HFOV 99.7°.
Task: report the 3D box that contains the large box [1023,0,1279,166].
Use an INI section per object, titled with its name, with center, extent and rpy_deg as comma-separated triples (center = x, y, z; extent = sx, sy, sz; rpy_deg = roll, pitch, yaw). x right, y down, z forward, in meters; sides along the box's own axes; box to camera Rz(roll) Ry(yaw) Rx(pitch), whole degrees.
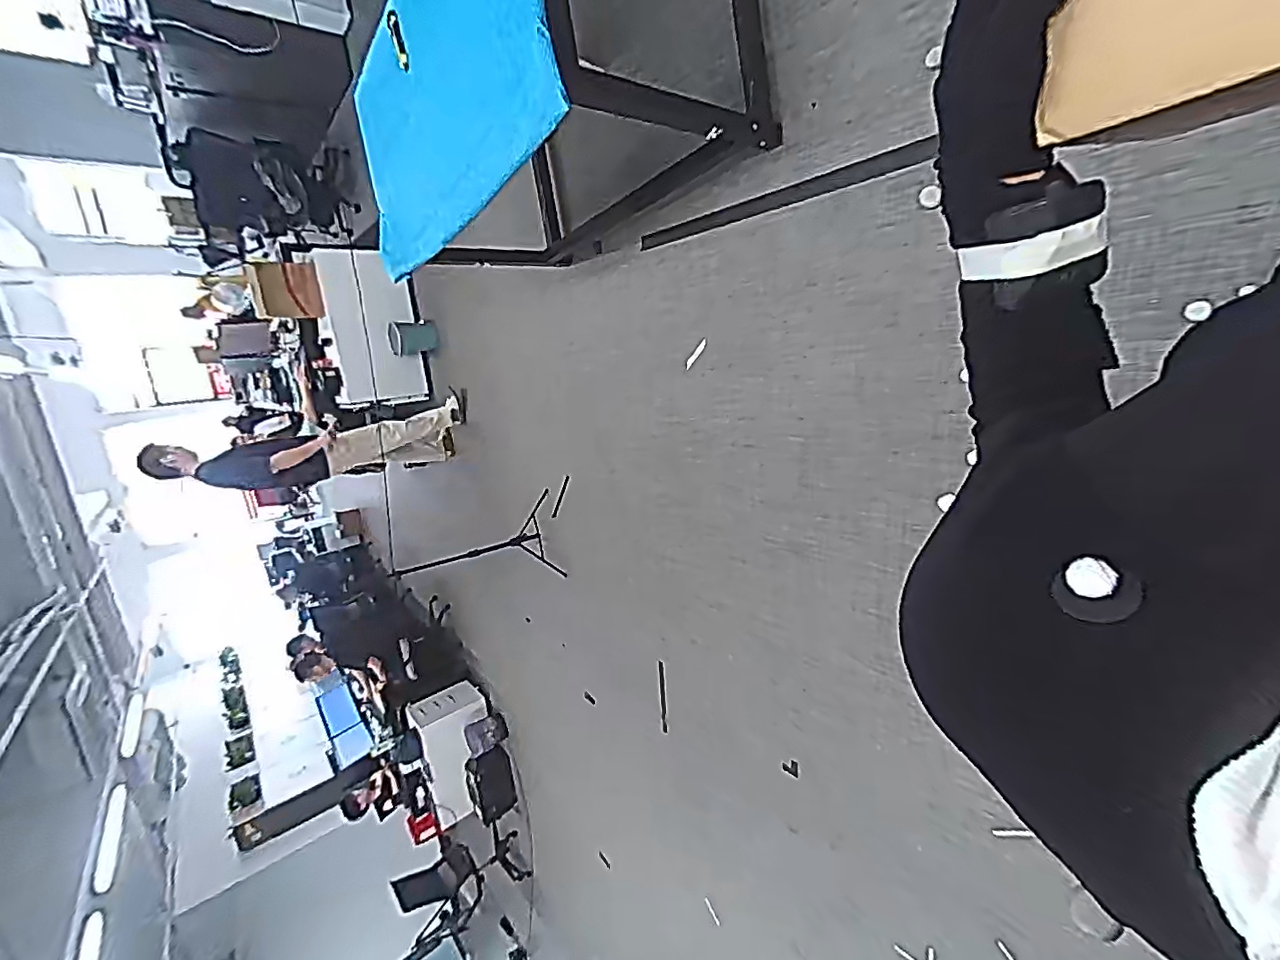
[large box]
center = 0.434, -0.379, 0.217
extent = 0.408, 0.320, 0.320
rpy_deg = 5, 115, 52
